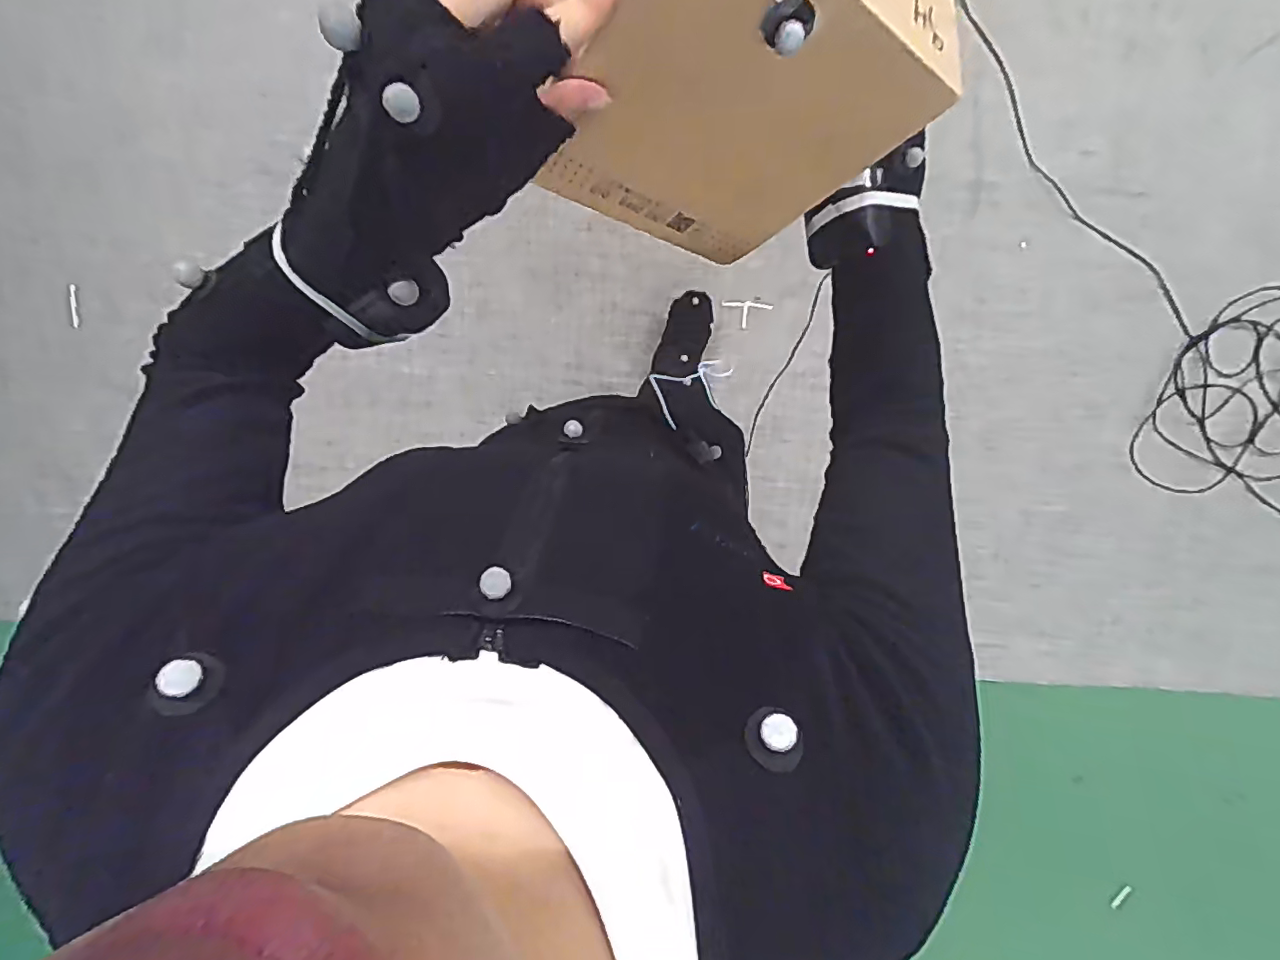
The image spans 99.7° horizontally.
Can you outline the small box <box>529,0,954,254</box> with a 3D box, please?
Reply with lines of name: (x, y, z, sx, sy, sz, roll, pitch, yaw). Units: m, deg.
small box: (0.045, -0.271, 0.311, 0.168, 0.176, 0.179, 8, 75, -33)
